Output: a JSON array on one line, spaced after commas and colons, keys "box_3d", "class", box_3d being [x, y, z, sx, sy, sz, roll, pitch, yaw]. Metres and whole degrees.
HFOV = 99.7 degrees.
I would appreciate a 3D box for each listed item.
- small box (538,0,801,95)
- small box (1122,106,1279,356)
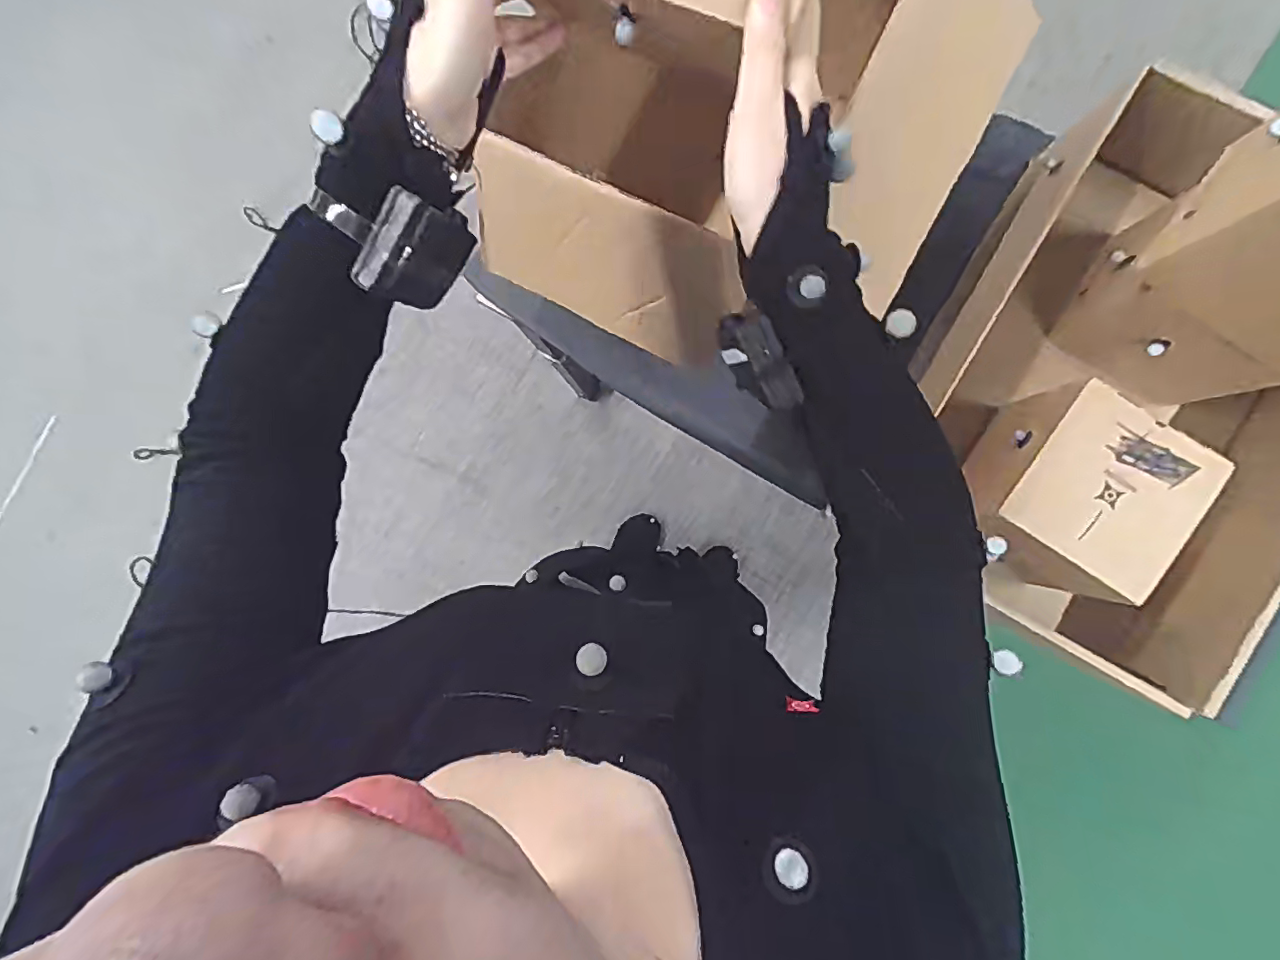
[{"box_3d": [0.027, -0.356, 0.318, 0.179, 0.176, 0.168, 18, 118, -2], "class": "small box"}, {"box_3d": [0.609, -0.236, 0.485, 0.179, 0.176, 0.168, 37, 91, 3], "class": "small box"}]
